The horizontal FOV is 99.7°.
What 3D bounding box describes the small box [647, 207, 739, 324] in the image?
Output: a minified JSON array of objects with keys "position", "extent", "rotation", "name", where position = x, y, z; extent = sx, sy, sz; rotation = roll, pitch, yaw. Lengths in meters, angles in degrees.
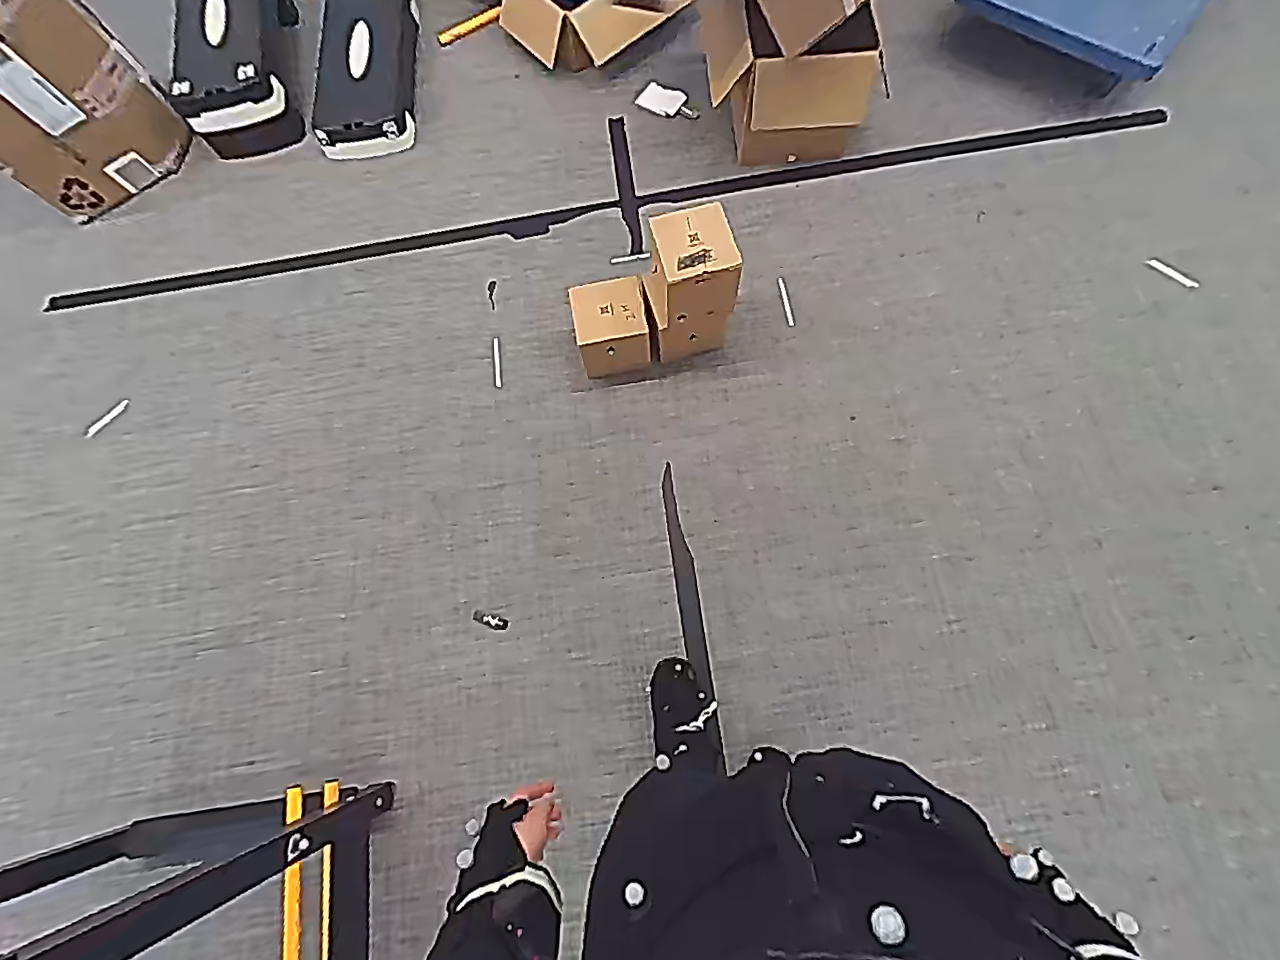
[{"position":[0.118,-0.476,1.230],"extent":[0.168,0.176,0.179],"rotation":[-14,72,-1],"name":"small box"}]
